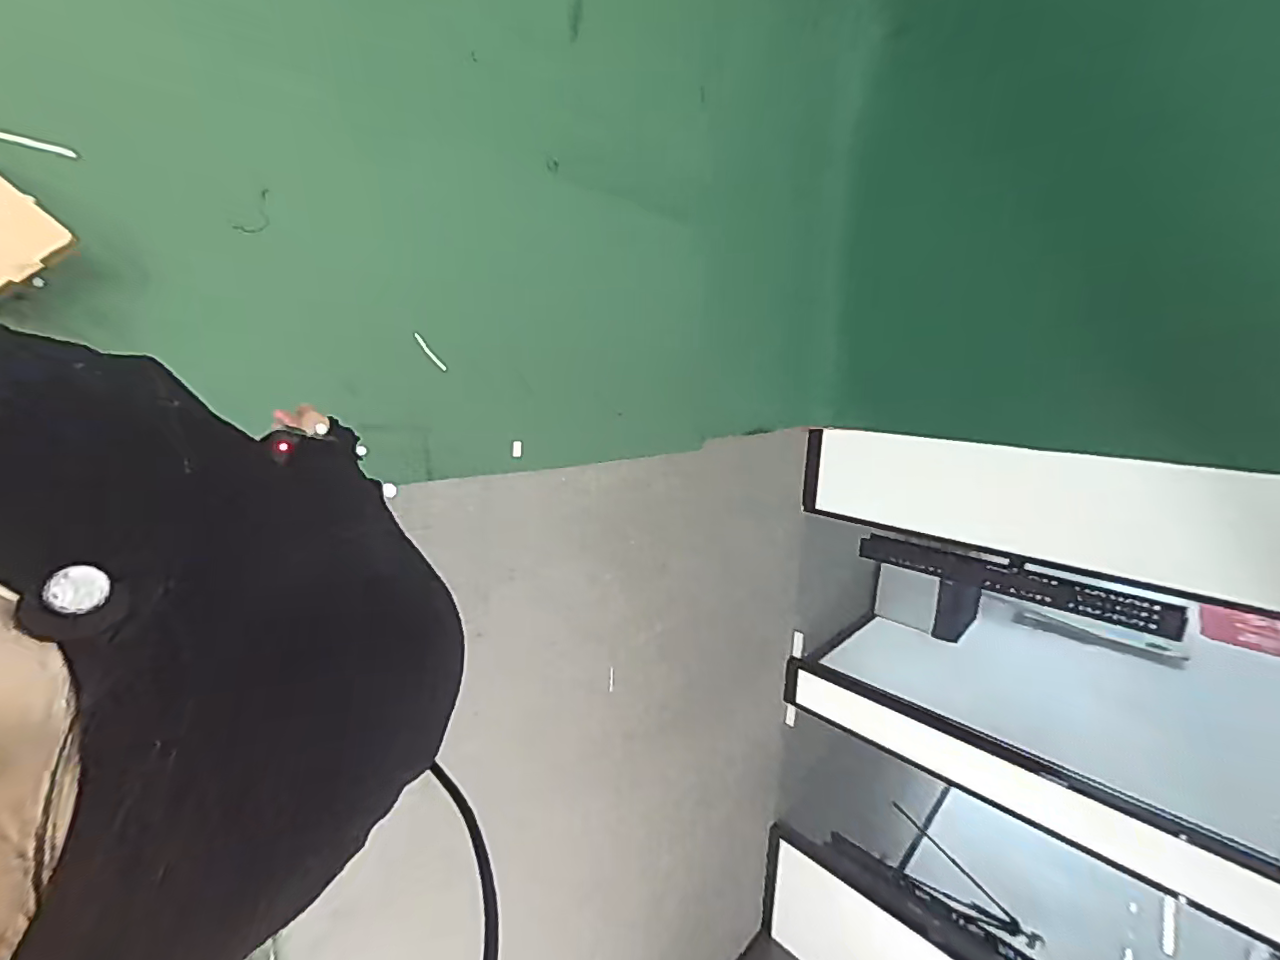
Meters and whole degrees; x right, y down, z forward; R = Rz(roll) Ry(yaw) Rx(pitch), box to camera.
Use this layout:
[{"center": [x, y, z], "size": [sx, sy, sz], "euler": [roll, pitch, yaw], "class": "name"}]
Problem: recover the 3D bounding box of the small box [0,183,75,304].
[{"center": [-1.002, -0.367, 0.798], "size": [0.168, 0.176, 0.179], "euler": [-56, 134, -21], "class": "small box"}]
